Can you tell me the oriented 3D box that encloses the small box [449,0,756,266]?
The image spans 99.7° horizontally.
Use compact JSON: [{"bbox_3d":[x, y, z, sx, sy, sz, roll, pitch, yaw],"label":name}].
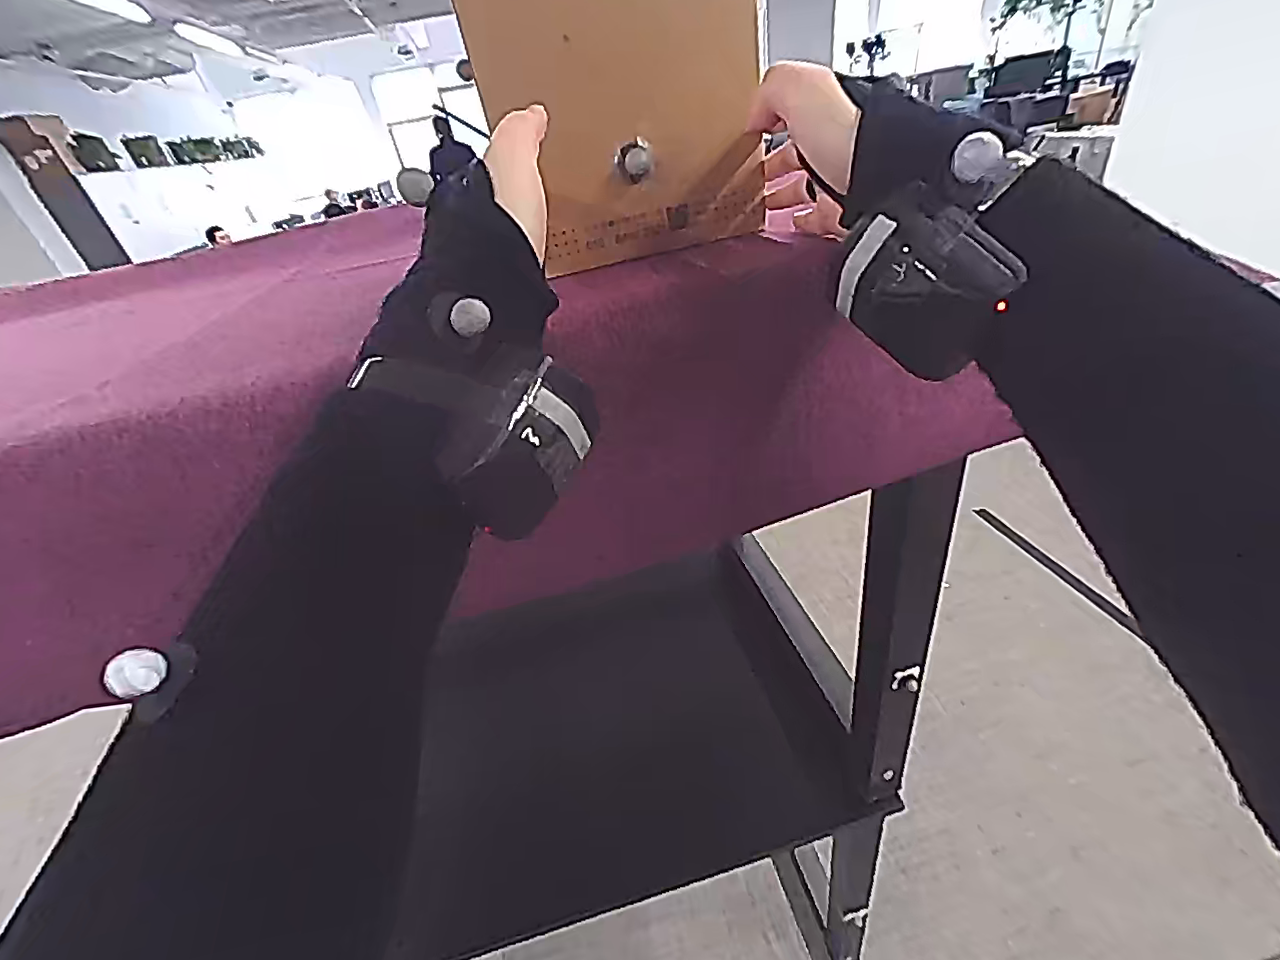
[{"bbox_3d":[-0.026,-0.263,0.384,0.168,0.176,0.179,-14,33,-3],"label":"small box"}]
